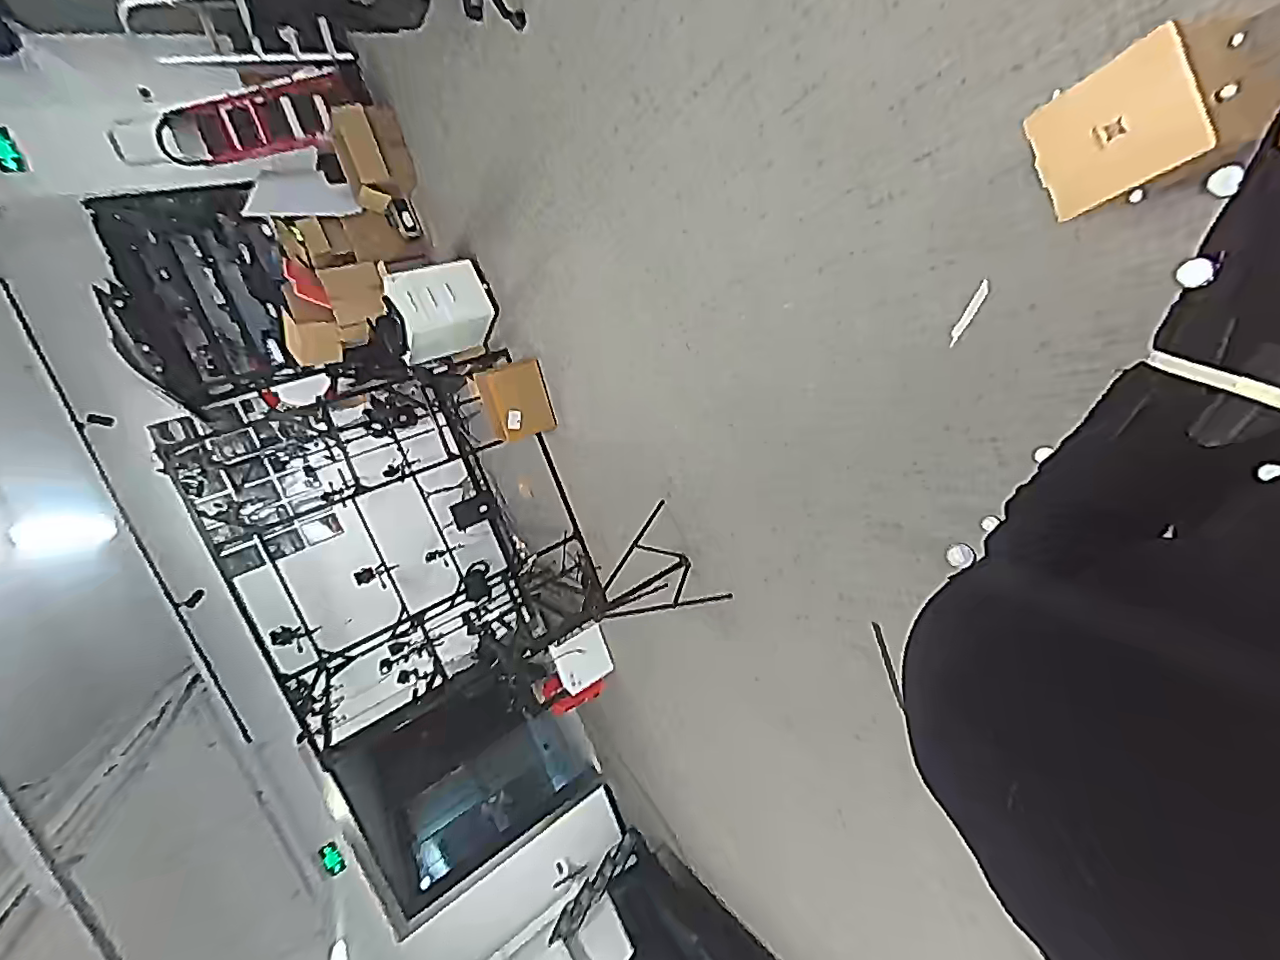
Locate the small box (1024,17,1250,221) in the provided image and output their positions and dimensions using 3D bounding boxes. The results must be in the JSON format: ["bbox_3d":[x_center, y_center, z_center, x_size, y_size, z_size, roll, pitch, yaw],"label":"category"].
[{"bbox_3d":[0.698,-0.500,0.759,0.179,0.176,0.168,-19,96,63],"label":"small box"}]
